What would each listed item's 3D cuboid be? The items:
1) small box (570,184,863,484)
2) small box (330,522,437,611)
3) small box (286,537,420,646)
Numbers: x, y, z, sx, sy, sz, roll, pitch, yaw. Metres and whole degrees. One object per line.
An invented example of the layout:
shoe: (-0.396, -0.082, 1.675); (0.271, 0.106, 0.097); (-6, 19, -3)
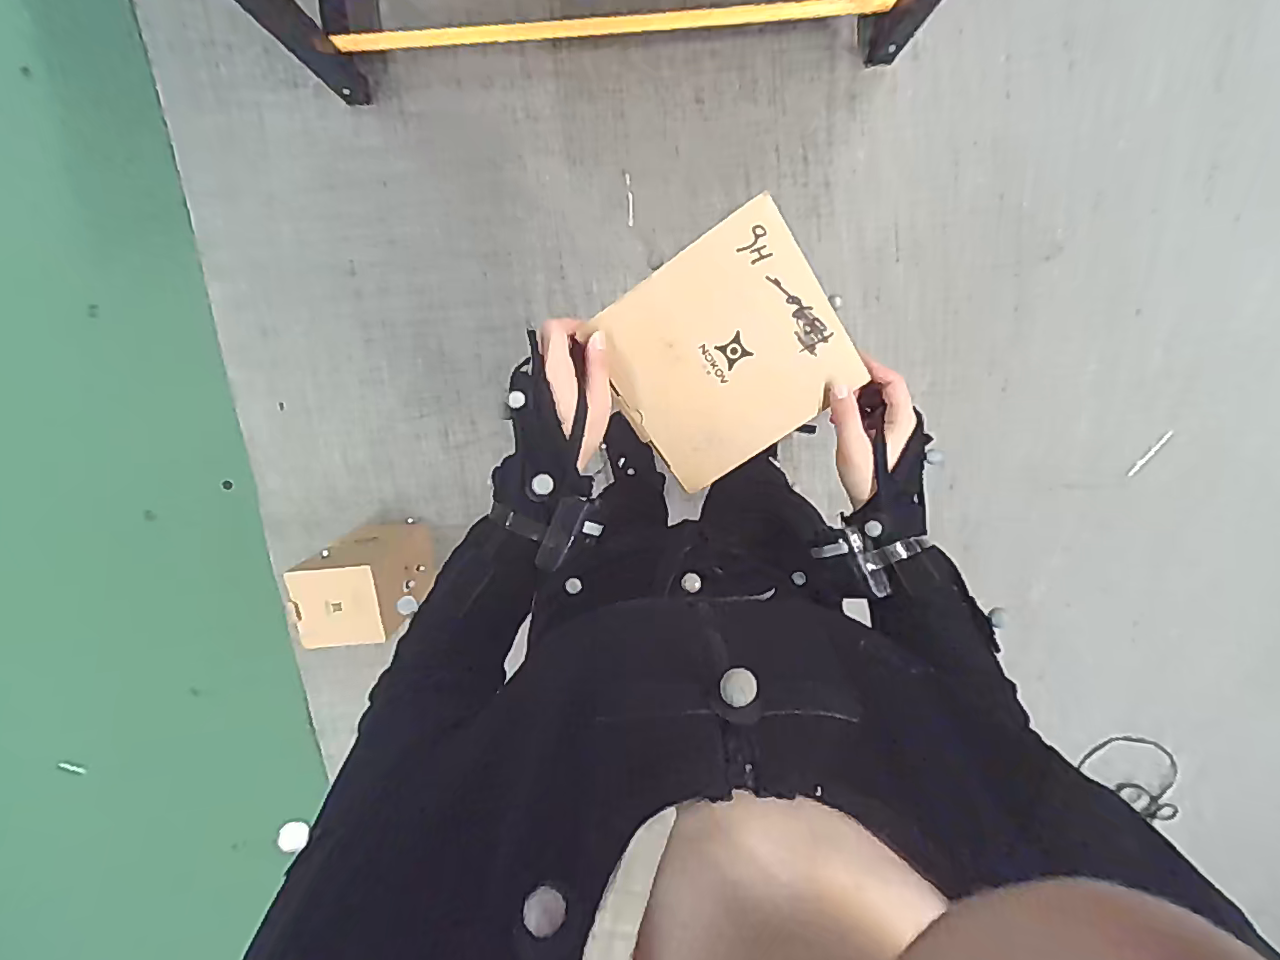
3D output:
small box: (0.064, -0.129, 0.496); (0.179, 0.176, 0.168); (-34, 105, 13)
small box: (-0.604, 0.201, 1.293); (0.168, 0.176, 0.179); (-3, 102, 1)
small box: (-0.590, 0.227, 1.132); (0.179, 0.176, 0.168); (-6, 103, 1)
